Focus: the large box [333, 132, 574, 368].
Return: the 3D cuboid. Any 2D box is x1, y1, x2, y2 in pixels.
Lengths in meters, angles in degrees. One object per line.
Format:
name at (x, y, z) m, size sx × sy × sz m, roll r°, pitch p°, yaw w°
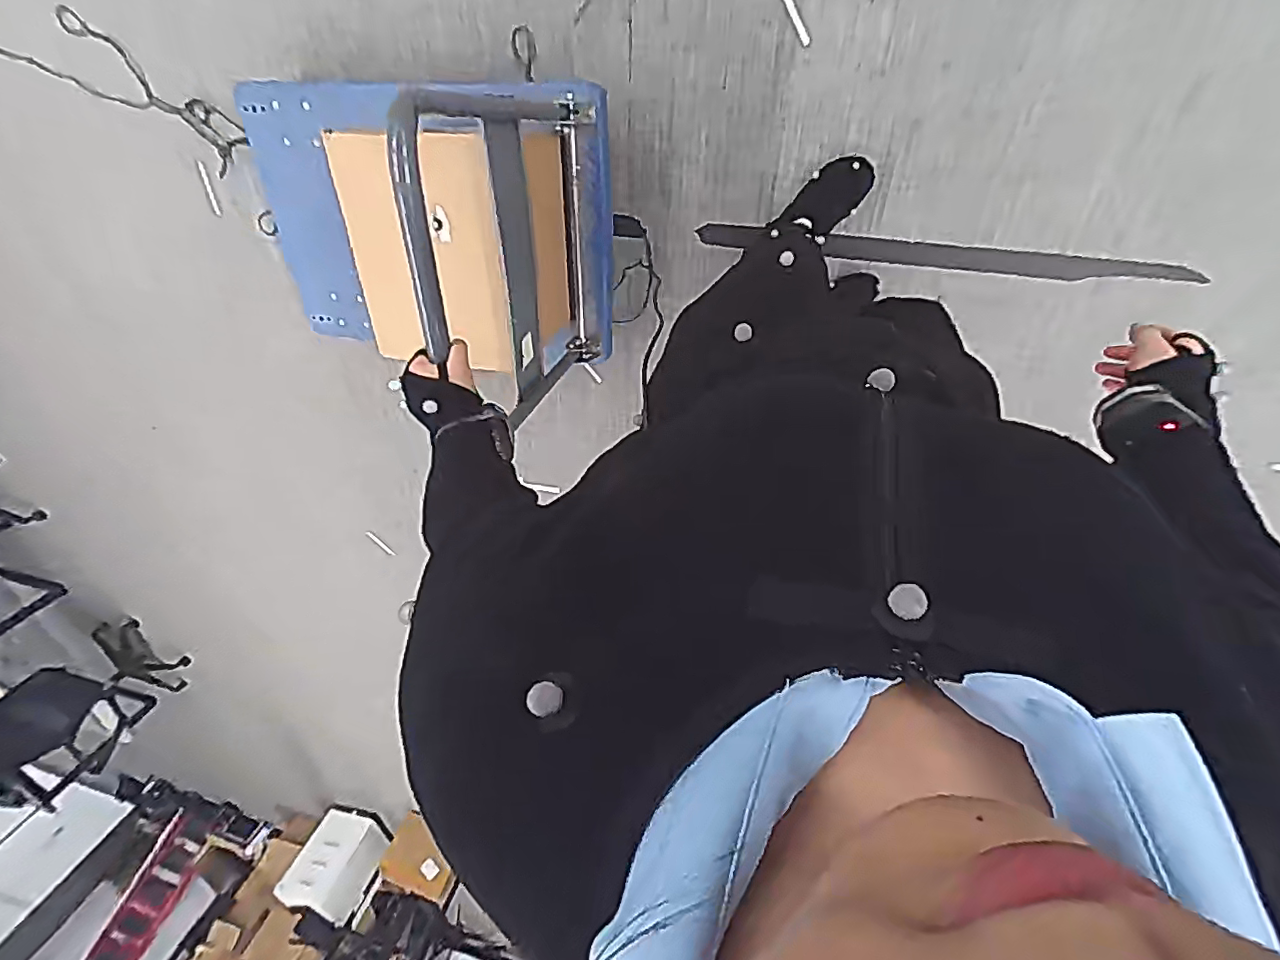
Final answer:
large box at (-0.346, -0.486, 1.129) m, size 0.320 × 0.320 × 0.408 m, roll 9°, pitch 124°, yaw 12°
